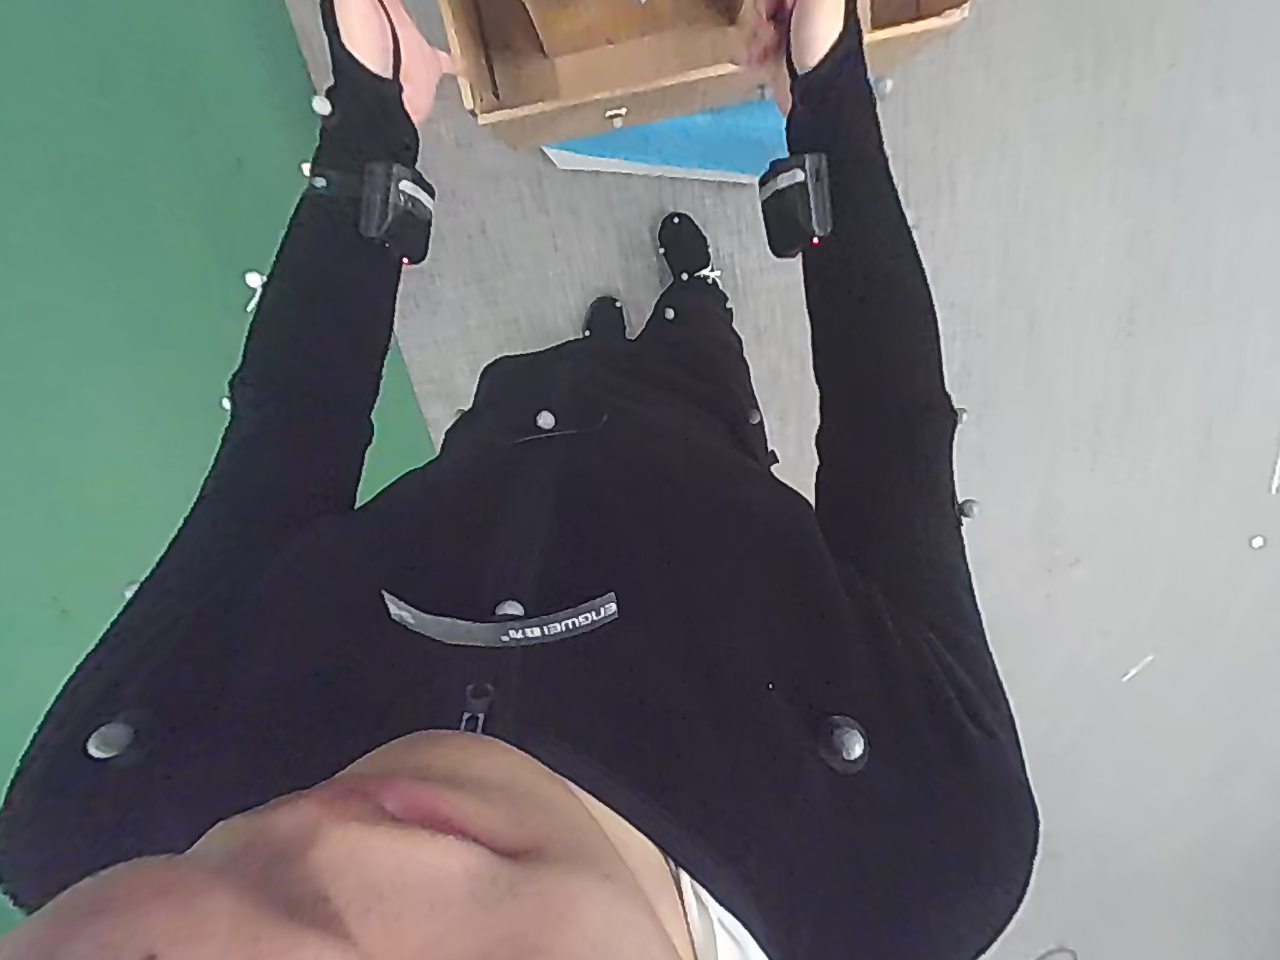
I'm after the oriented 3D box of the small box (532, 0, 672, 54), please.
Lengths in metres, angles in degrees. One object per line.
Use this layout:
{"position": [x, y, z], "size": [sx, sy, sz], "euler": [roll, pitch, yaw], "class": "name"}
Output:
{"position": [-0.056, -0.651, 0.648], "size": [0.179, 0.176, 0.168], "euler": [-10, 109, 3], "class": "small box"}
